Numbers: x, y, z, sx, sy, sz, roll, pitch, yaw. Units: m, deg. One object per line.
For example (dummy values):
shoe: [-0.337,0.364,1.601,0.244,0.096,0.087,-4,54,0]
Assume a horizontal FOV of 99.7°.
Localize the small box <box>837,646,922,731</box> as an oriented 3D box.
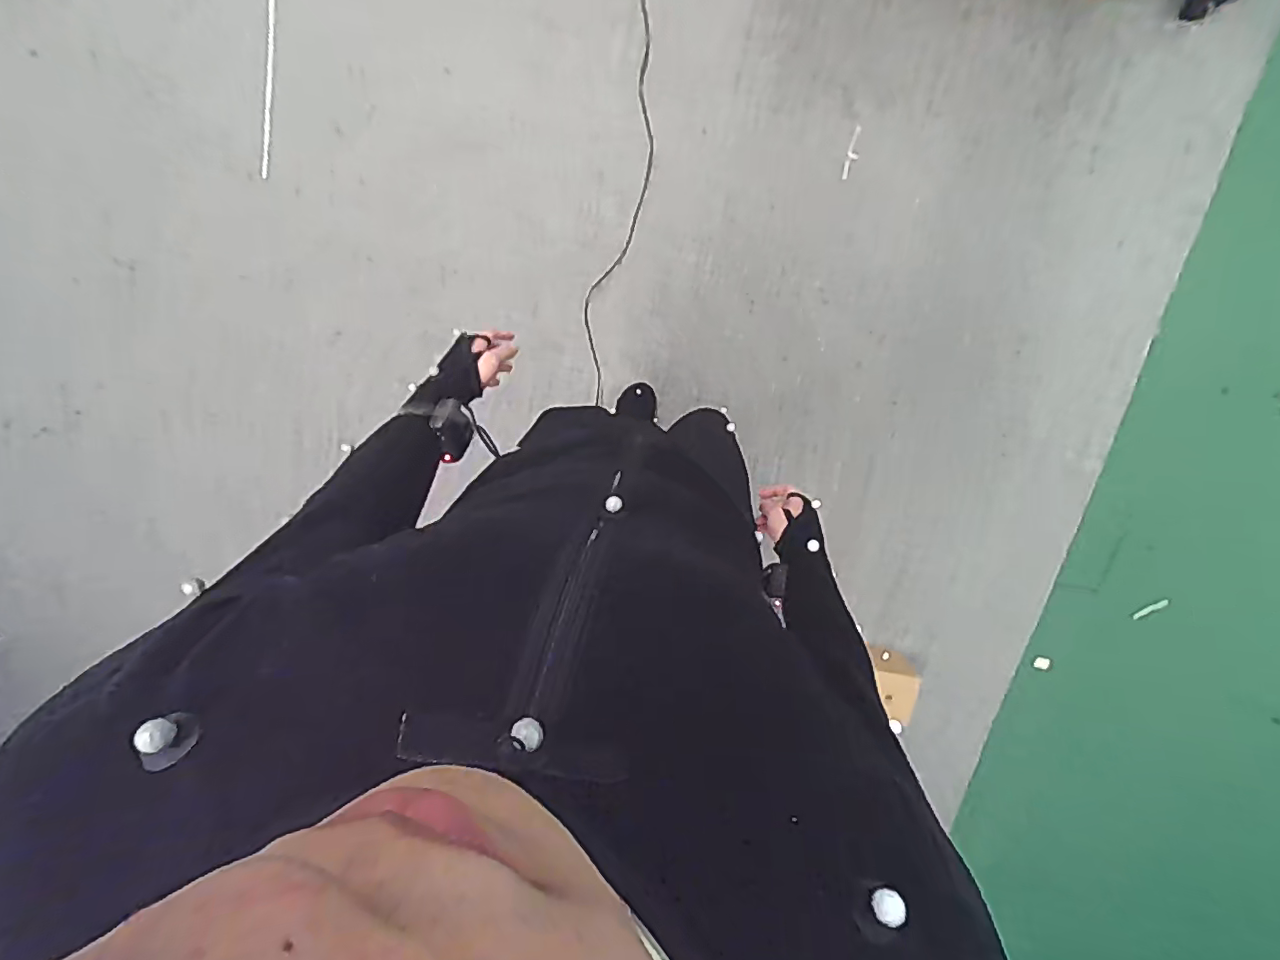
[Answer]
small box: [0.738,0.645,1.688,0.168,0.176,0.179,11,103,-2]
